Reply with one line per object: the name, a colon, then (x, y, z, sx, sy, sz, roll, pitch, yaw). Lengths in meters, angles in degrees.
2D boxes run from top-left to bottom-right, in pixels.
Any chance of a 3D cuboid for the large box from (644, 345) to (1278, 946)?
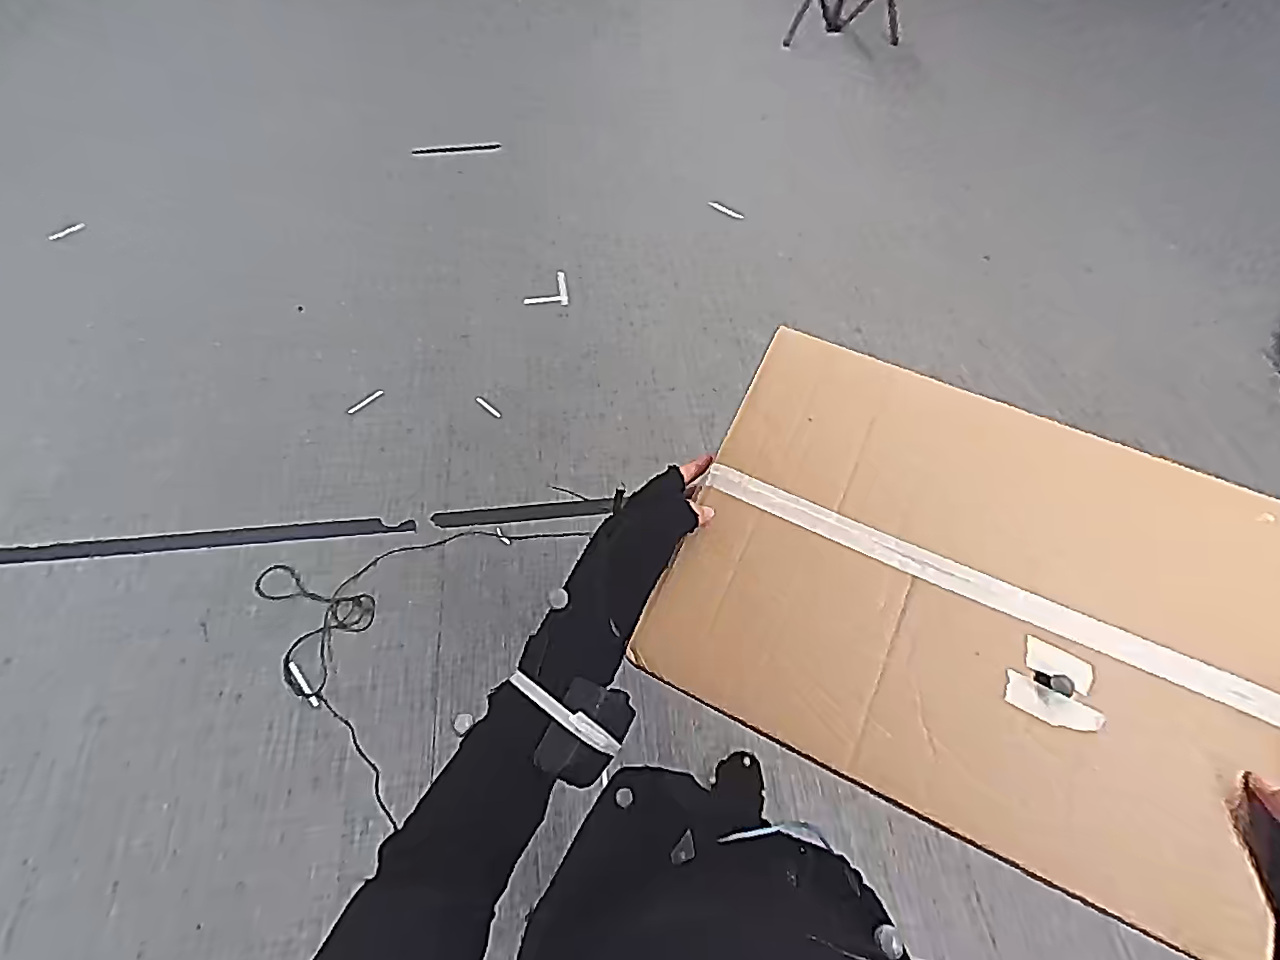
large box: (0.250, 0.130, 0.545, 0.408, 0.320, 0.320, 23, 73, 12)
